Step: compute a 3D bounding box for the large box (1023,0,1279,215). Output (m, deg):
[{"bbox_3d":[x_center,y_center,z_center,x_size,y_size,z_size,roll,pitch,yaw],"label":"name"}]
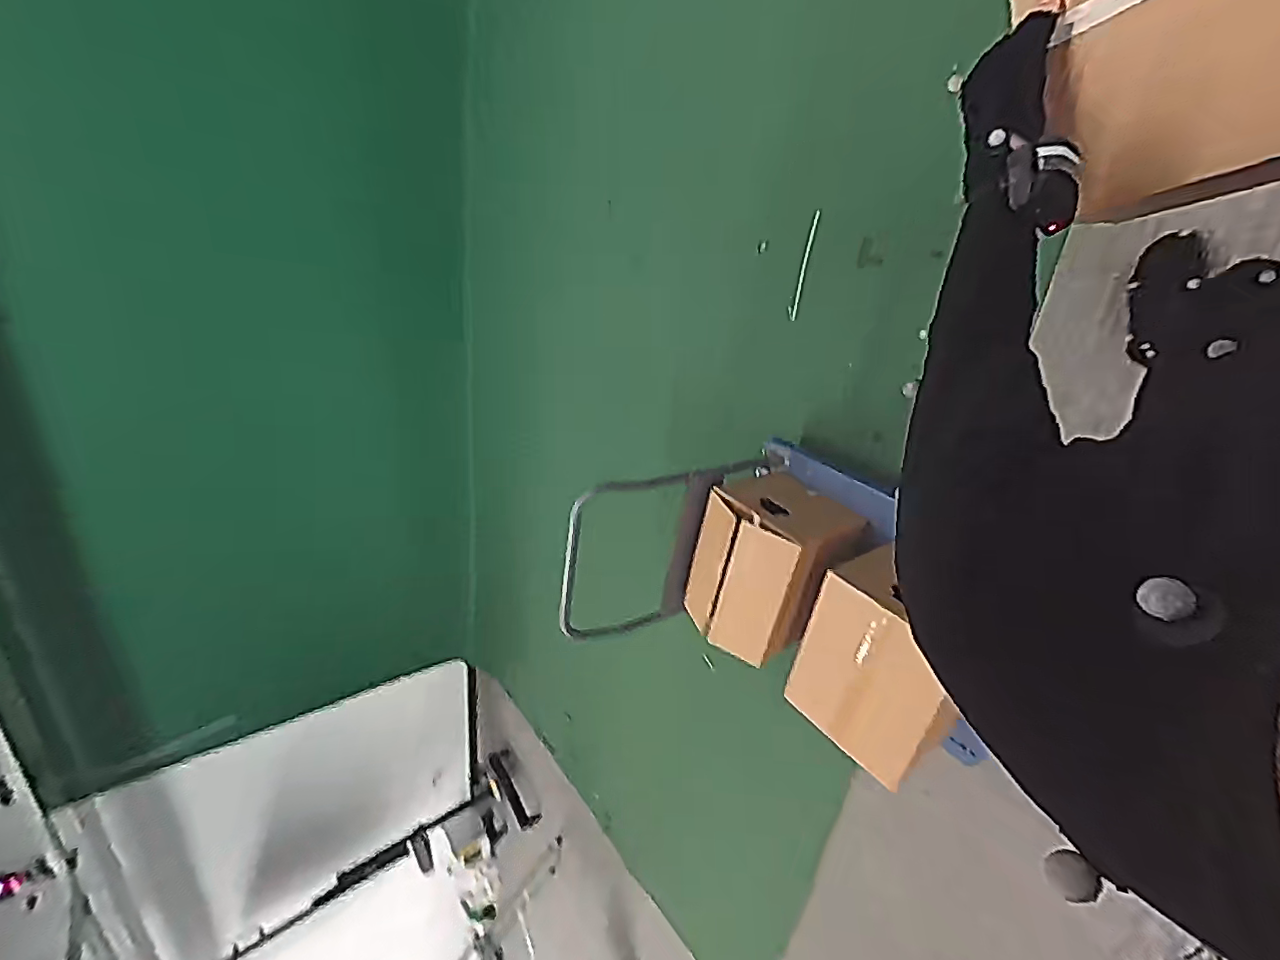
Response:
[{"bbox_3d":[0.586,-0.442,0.419,0.408,0.320,0.320,4,110,53],"label":"large box"}]
